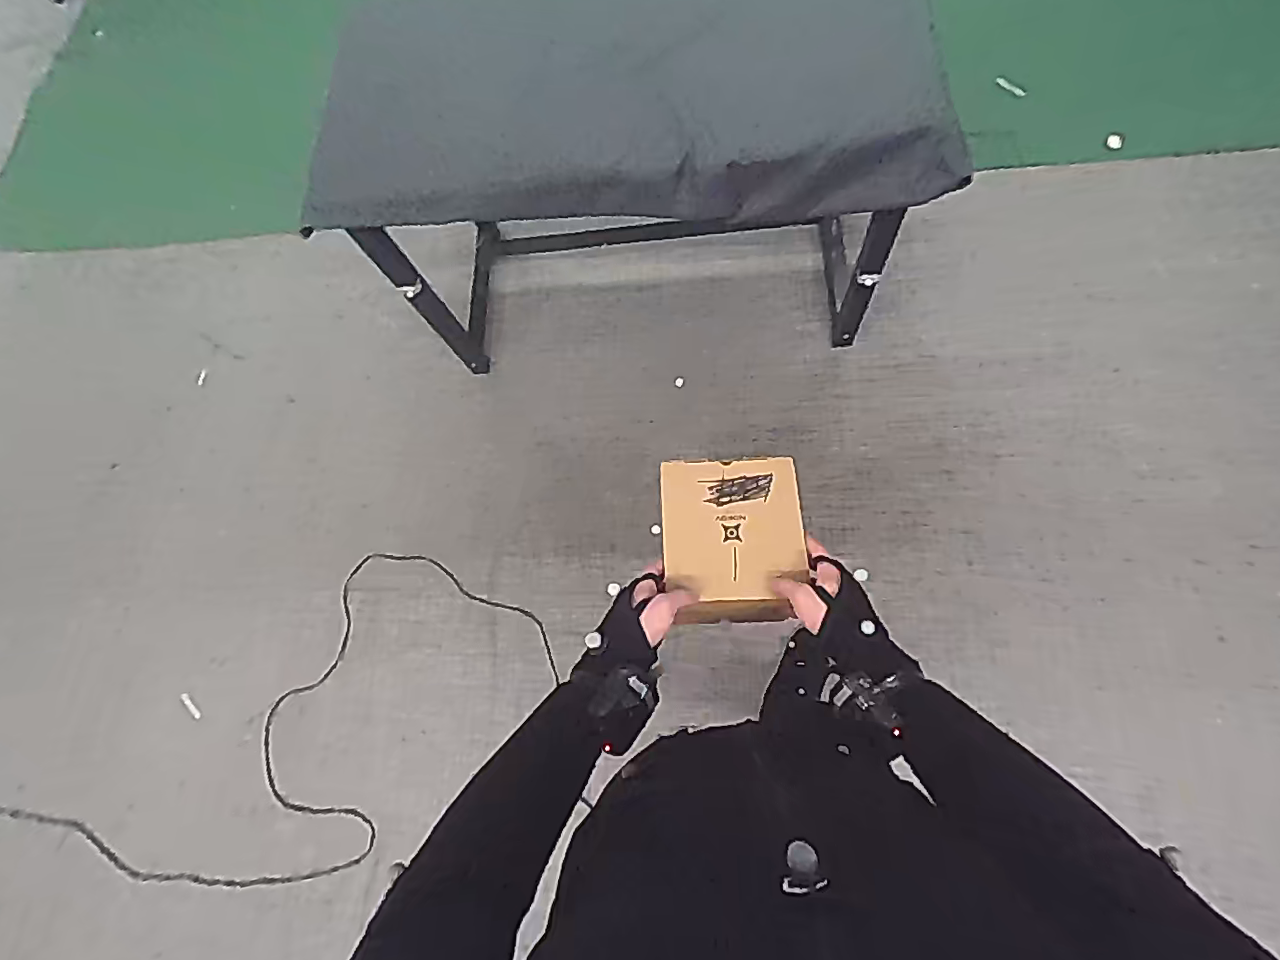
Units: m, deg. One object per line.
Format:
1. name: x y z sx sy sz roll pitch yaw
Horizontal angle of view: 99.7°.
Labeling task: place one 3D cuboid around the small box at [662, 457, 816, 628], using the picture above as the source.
1. small box: 0.113 0.086 0.693 0.168 0.176 0.179 -2 66 3
